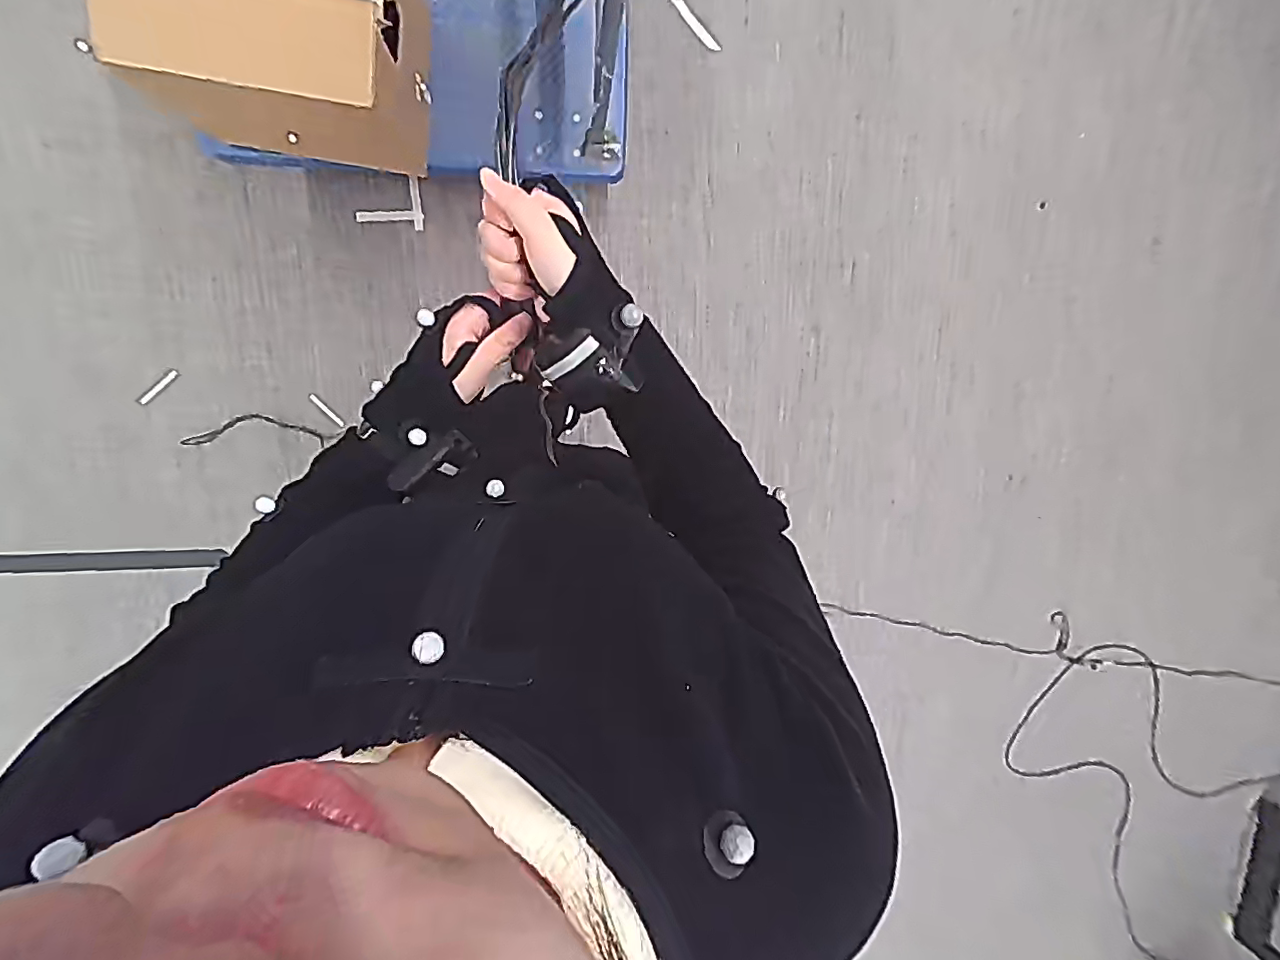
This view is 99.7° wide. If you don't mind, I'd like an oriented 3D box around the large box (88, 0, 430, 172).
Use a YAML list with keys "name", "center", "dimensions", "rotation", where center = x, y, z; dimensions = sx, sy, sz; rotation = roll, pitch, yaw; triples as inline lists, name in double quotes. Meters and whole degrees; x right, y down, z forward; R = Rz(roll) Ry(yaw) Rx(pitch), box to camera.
- name: "large box"
  center: [-0.615, -0.780, 0.947]
  dimensions: [0.408, 0.320, 0.320]
  rotation: [6, 100, -7]
